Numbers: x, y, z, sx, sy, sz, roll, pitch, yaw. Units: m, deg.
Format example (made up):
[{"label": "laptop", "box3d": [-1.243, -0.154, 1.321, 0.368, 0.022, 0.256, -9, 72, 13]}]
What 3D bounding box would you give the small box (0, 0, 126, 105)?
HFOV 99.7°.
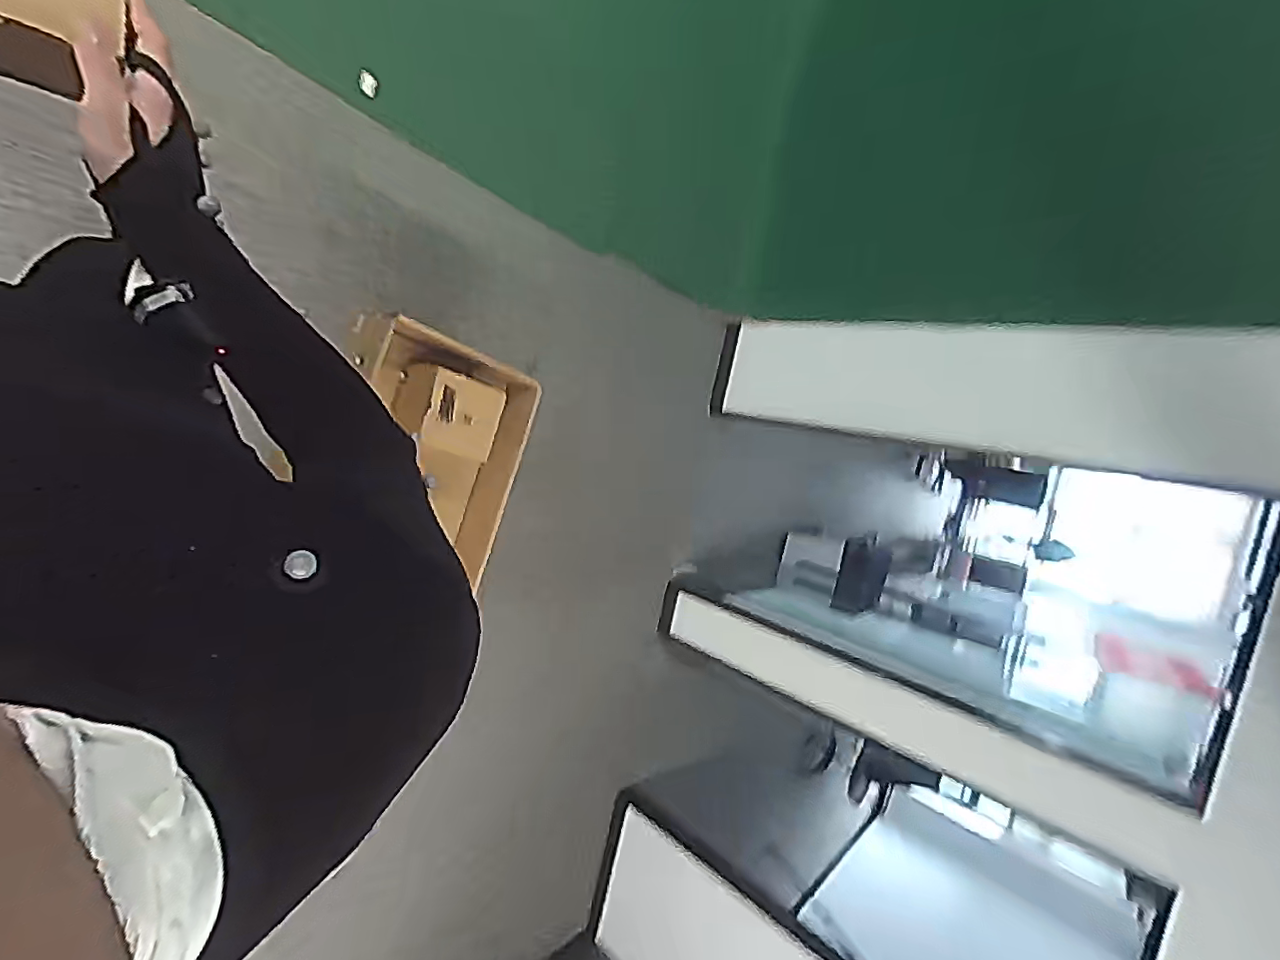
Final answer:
[{"label": "small box", "box3d": [-0.476, -0.405, 0.374, 0.168, 0.176, 0.179, -2, 105, -46]}]
